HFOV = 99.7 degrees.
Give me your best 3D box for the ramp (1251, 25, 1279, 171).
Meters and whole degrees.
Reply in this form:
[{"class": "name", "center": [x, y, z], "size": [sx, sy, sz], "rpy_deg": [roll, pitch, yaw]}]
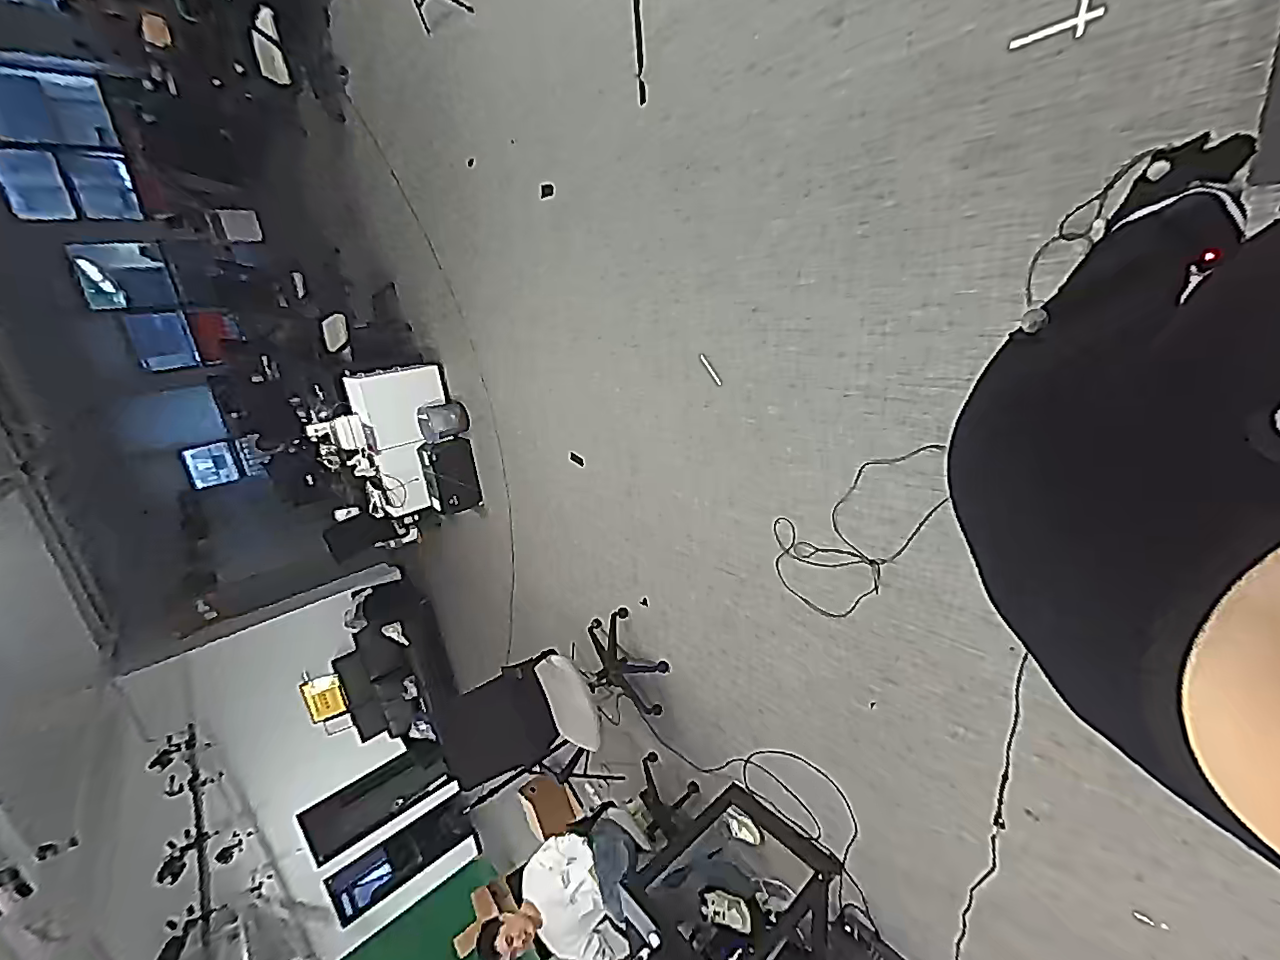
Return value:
[{"class": "ramp", "center": [1.087, -0.917, 0.539], "size": [0.509, 0.206, 0.991], "rpy_deg": [13, 118, 47]}]
